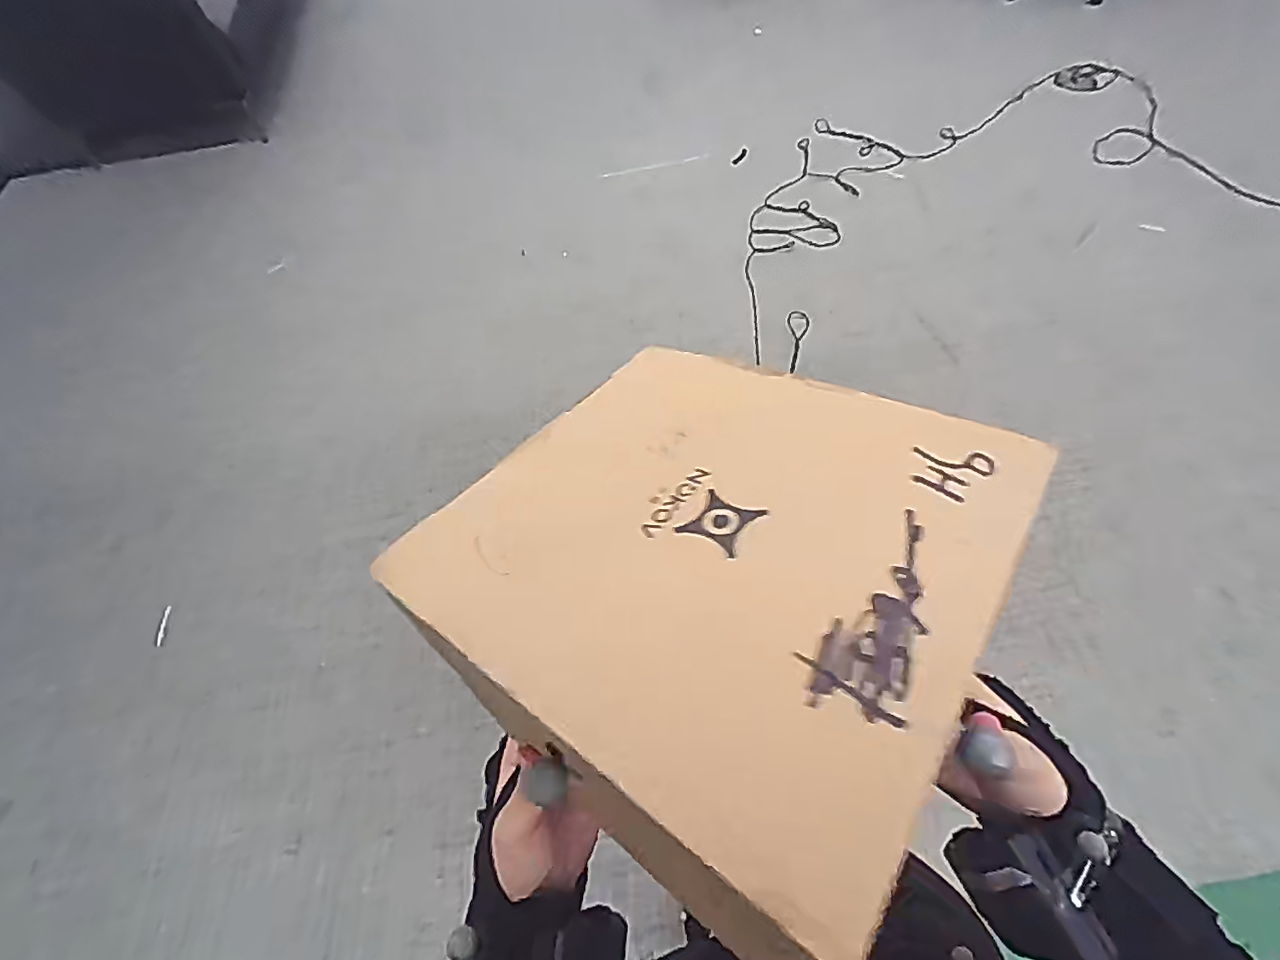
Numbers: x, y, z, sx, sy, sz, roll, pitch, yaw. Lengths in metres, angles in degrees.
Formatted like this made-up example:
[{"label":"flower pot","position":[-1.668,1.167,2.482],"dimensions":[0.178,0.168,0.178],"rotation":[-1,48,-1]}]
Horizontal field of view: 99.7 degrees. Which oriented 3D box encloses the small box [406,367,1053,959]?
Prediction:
[{"label":"small box","position":[0.041,0.076,0.244],"dimensions":[0.179,0.176,0.168],"rotation":[22,54,34]}]
